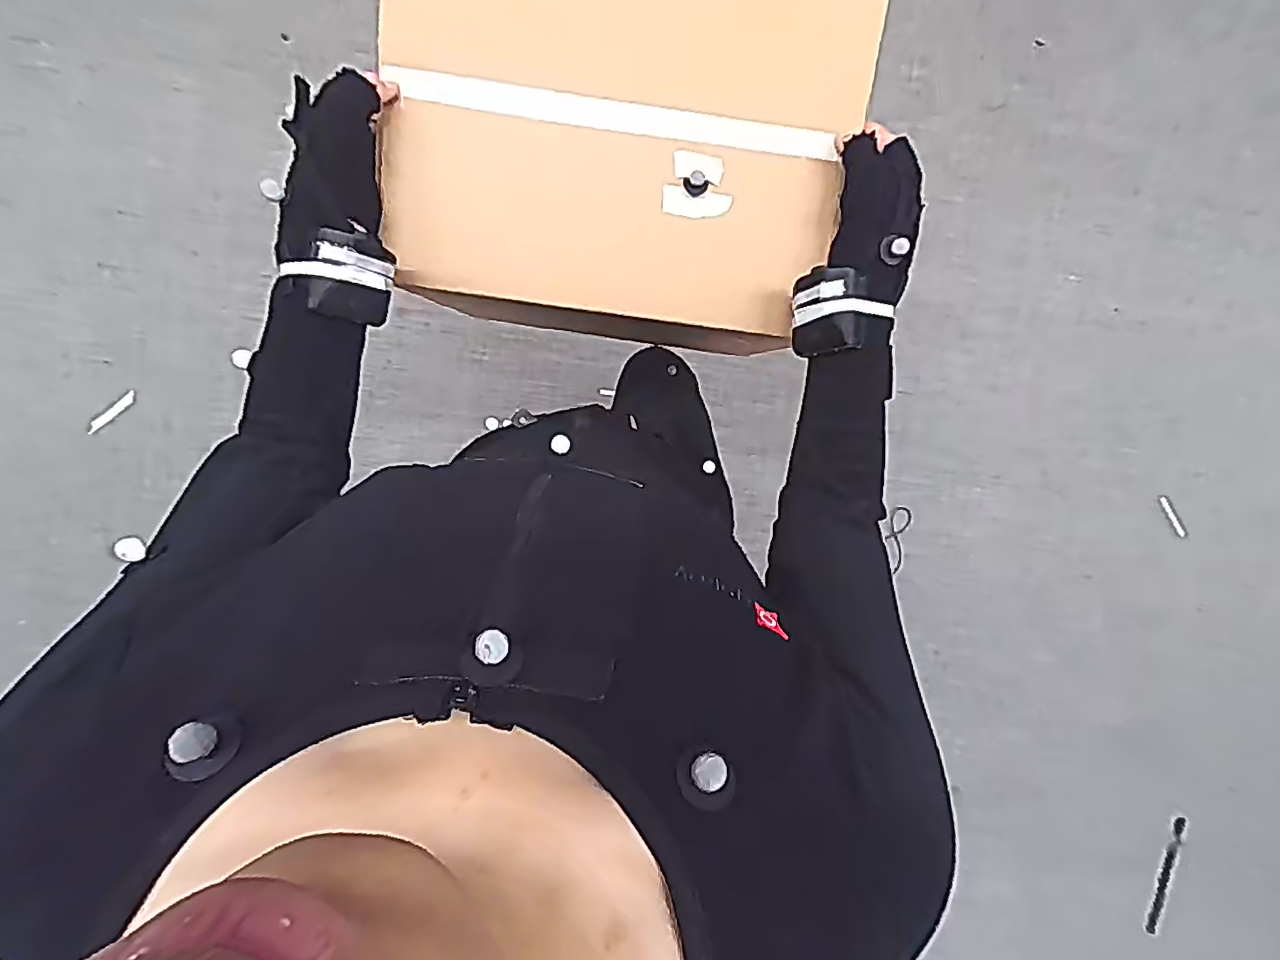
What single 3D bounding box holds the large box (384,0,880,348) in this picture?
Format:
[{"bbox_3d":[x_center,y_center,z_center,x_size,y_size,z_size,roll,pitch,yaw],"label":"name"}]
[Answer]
[{"bbox_3d":[-0.019,-0.335,0.604,0.408,0.320,0.320,7,101,-4],"label":"large box"}]
